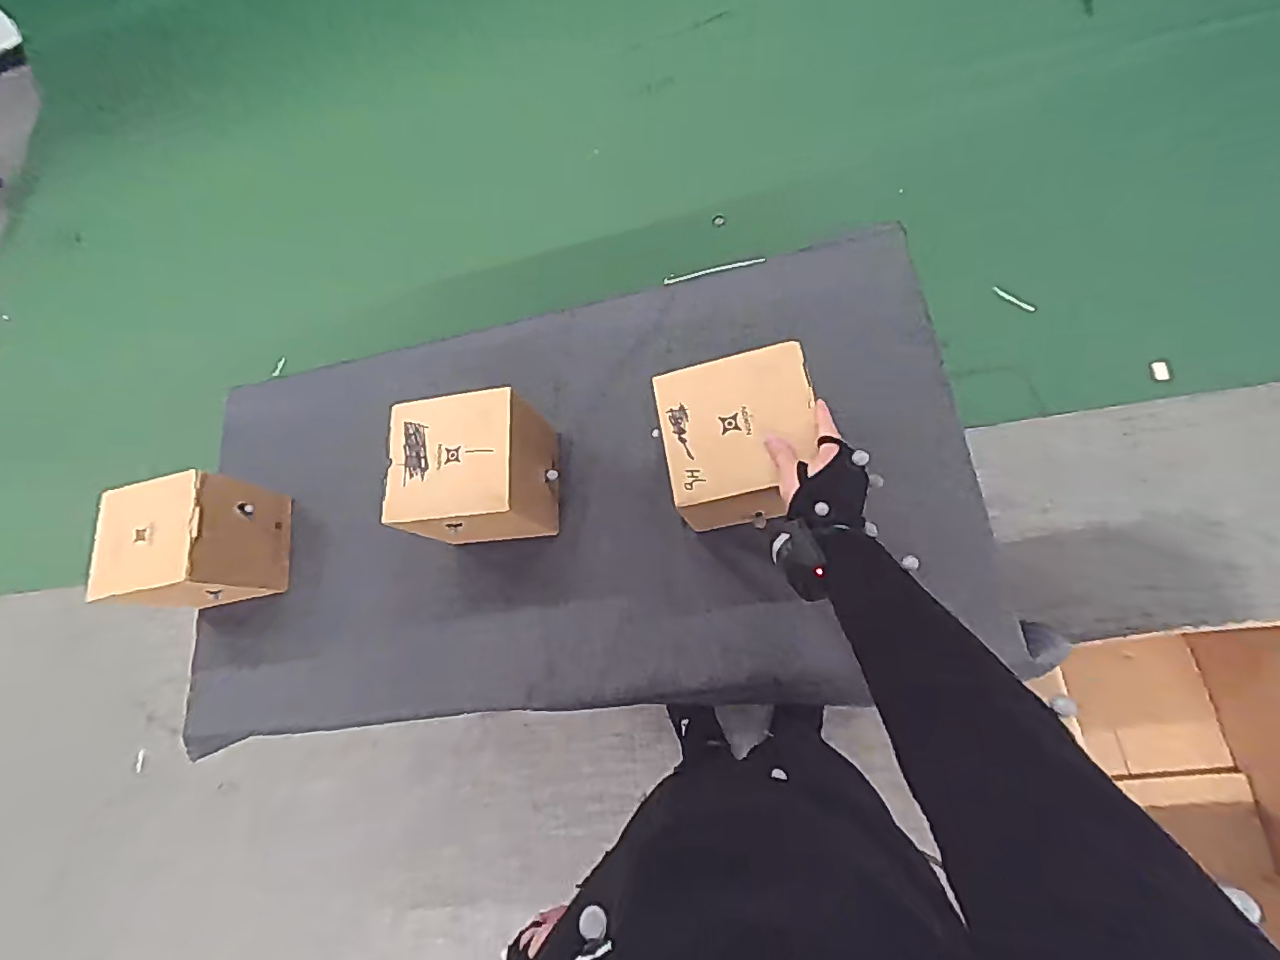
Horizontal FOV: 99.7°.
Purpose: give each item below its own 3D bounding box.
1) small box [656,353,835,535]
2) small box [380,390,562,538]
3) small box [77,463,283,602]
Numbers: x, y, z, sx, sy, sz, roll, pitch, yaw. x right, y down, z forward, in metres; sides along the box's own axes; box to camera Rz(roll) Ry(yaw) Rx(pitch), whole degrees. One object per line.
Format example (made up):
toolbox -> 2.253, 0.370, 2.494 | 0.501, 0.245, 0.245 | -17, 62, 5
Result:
small box -> 0.134, -0.035, 0.700 | 0.179, 0.176, 0.168 | -15, 73, 10
small box -> -0.225, -0.012, 0.758 | 0.179, 0.176, 0.168 | -3, 76, 13
small box -> -0.686, 0.089, 0.828 | 0.179, 0.176, 0.168 | -13, 71, 11
